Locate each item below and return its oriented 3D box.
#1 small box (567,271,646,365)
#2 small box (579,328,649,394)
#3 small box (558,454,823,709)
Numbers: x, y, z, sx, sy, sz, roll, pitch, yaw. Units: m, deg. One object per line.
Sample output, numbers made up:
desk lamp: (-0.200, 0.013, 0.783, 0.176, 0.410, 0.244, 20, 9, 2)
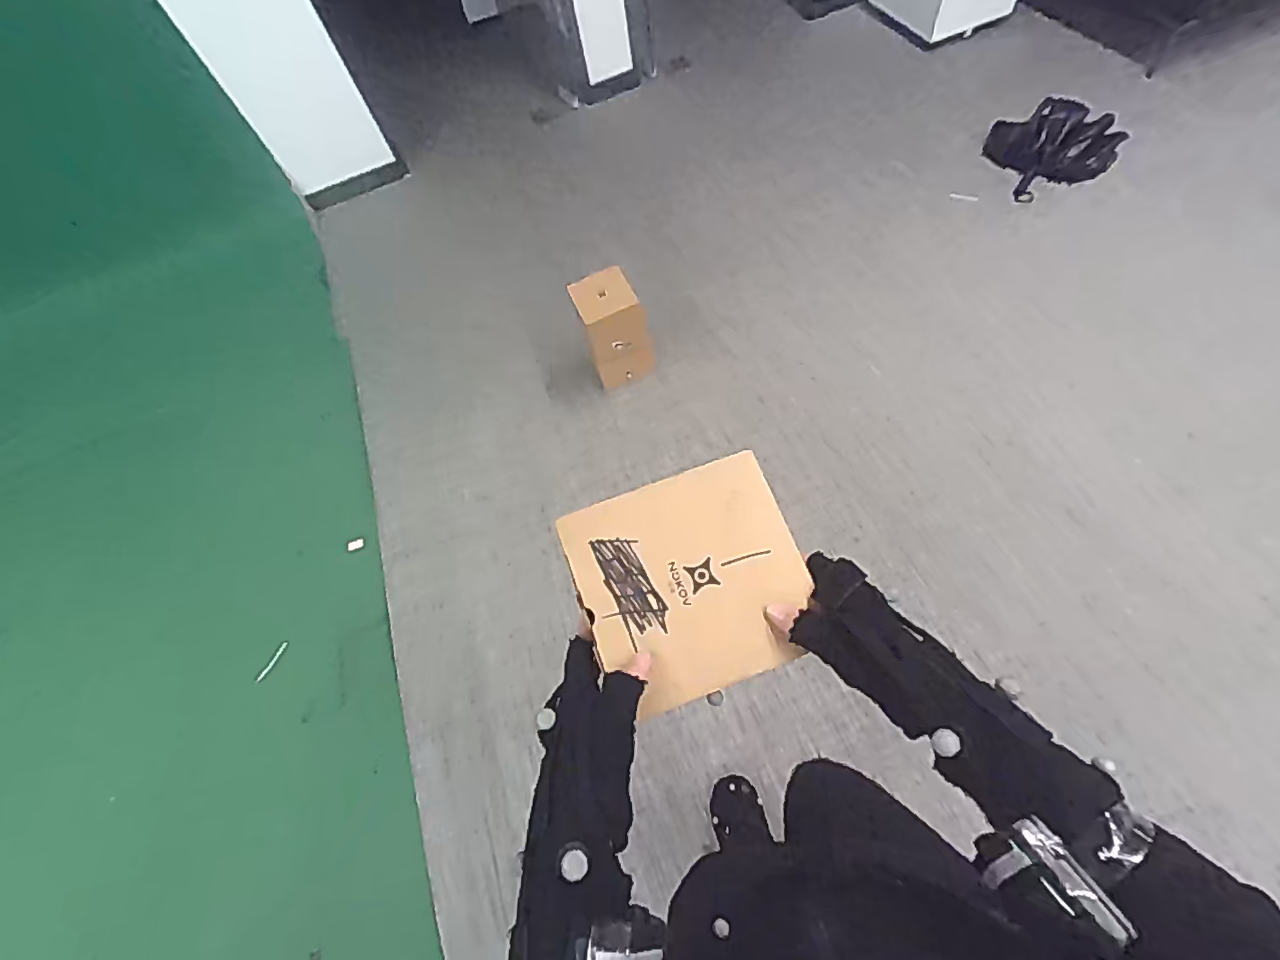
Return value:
small box: (-0.097, -0.478, 1.611, 0.168, 0.176, 0.179, -26, 62, -2)
small box: (-0.079, -0.414, 1.761, 0.179, 0.176, 0.168, -24, 60, -4)
small box: (0.040, 0.101, 0.516, 0.179, 0.176, 0.168, -20, 74, -5)
